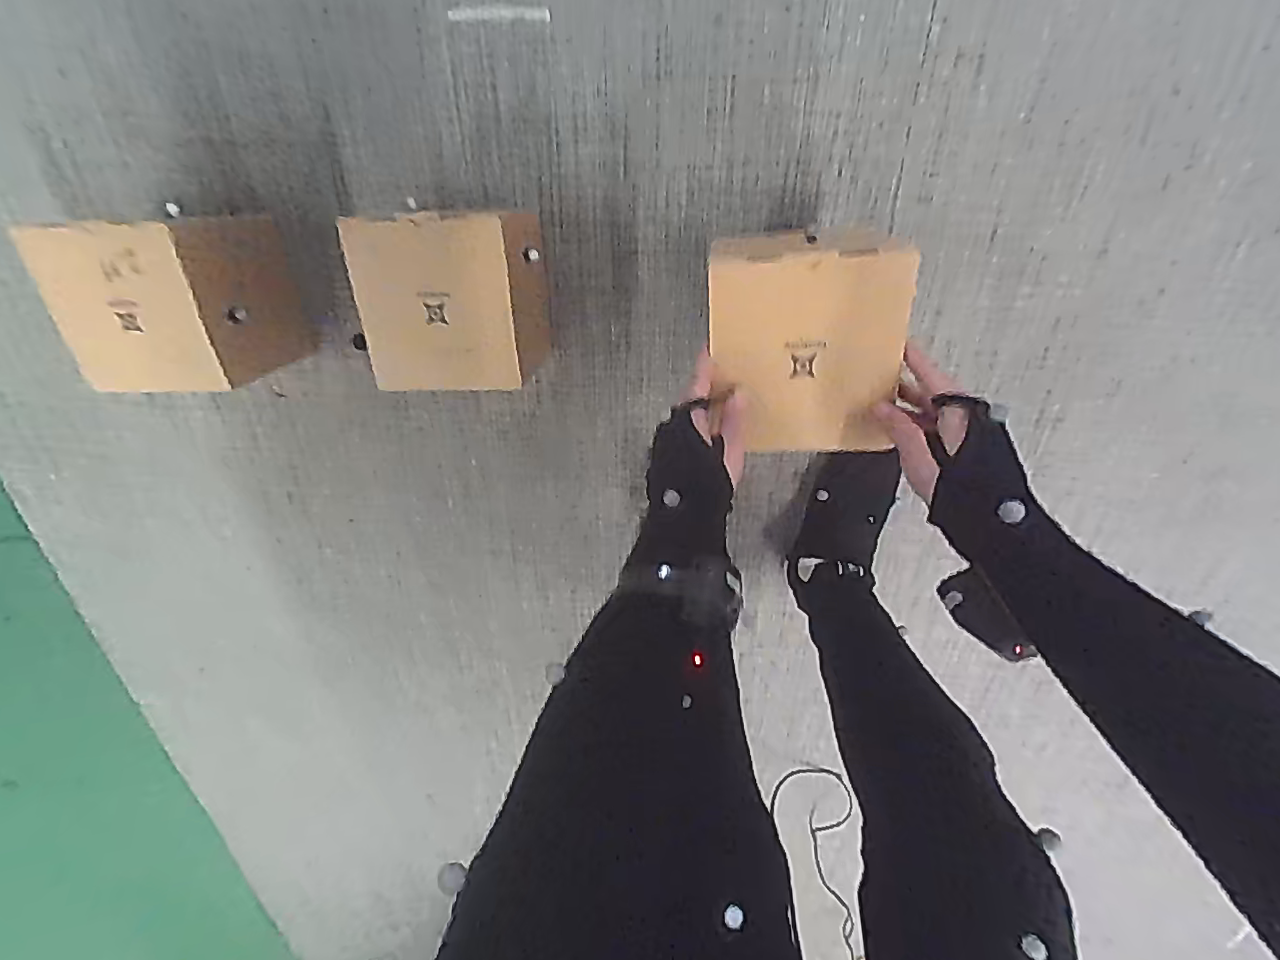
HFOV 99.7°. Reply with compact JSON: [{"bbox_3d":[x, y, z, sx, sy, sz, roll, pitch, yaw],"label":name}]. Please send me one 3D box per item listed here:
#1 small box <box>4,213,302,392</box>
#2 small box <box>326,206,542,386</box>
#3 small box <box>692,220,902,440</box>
[{"bbox_3d":[-0.543,-0.215,0.640,0.168,0.176,0.179,0,118,3],"label":"small box"},{"bbox_3d":[-0.216,-0.217,0.623,0.168,0.176,0.179,0,118,3],"label":"small box"},{"bbox_3d":[0.142,-0.153,0.539,0.168,0.176,0.179,0,118,10],"label":"small box"}]
